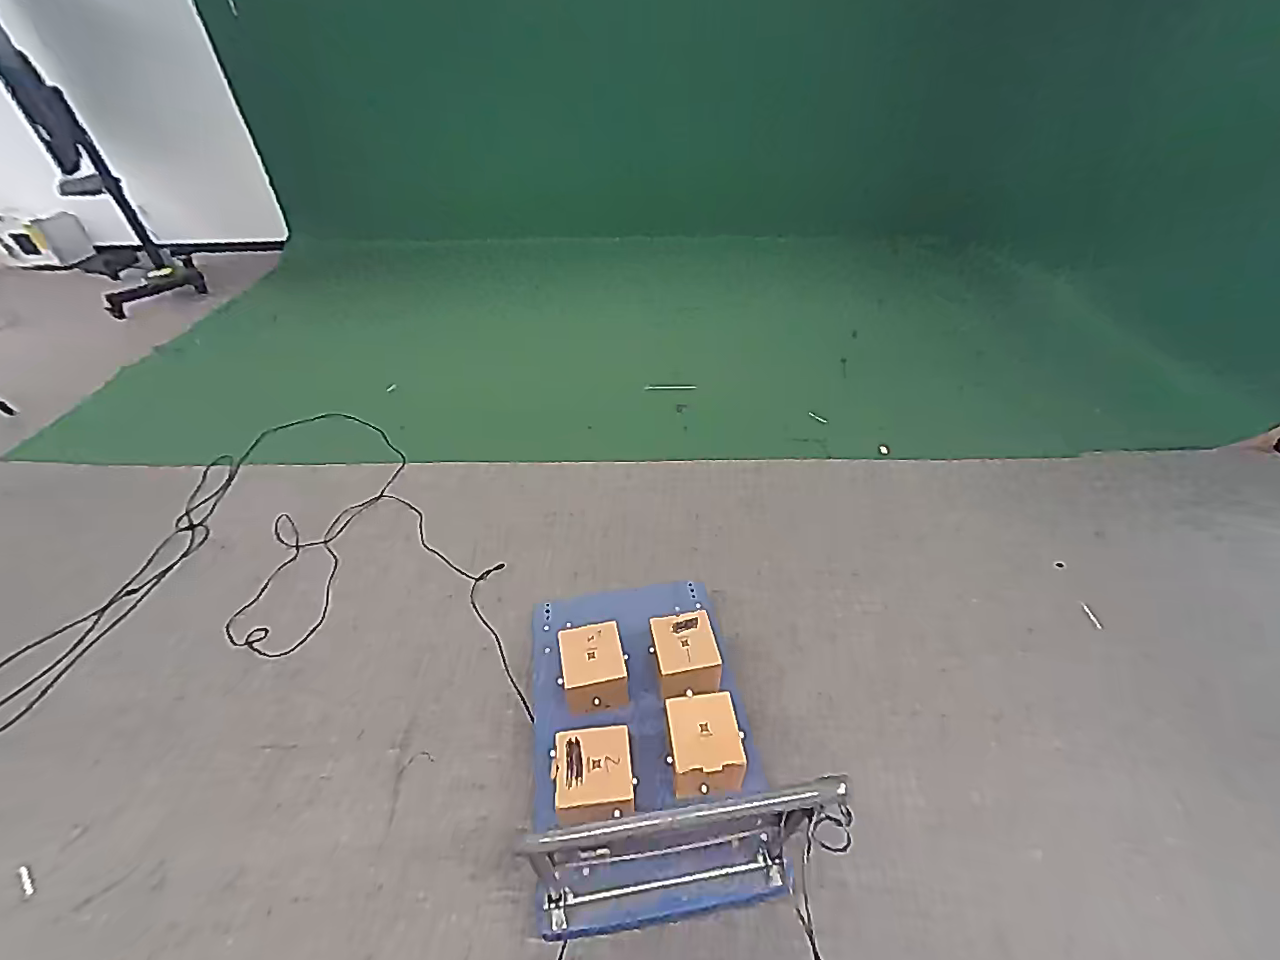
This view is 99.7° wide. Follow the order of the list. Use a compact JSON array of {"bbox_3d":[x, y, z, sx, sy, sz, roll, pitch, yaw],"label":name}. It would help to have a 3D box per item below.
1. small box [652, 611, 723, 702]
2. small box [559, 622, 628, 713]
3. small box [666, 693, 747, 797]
[{"bbox_3d":[0.127,0.499,1.525,0.168,0.176,0.179,-8,43,-6],"label":"small box"},{"bbox_3d":[-0.127,0.528,1.503,0.168,0.176,0.179,-8,42,-8],"label":"small box"},{"bbox_3d":[0.157,0.661,1.348,0.168,0.176,0.179,-5,43,-4],"label":"small box"}]
